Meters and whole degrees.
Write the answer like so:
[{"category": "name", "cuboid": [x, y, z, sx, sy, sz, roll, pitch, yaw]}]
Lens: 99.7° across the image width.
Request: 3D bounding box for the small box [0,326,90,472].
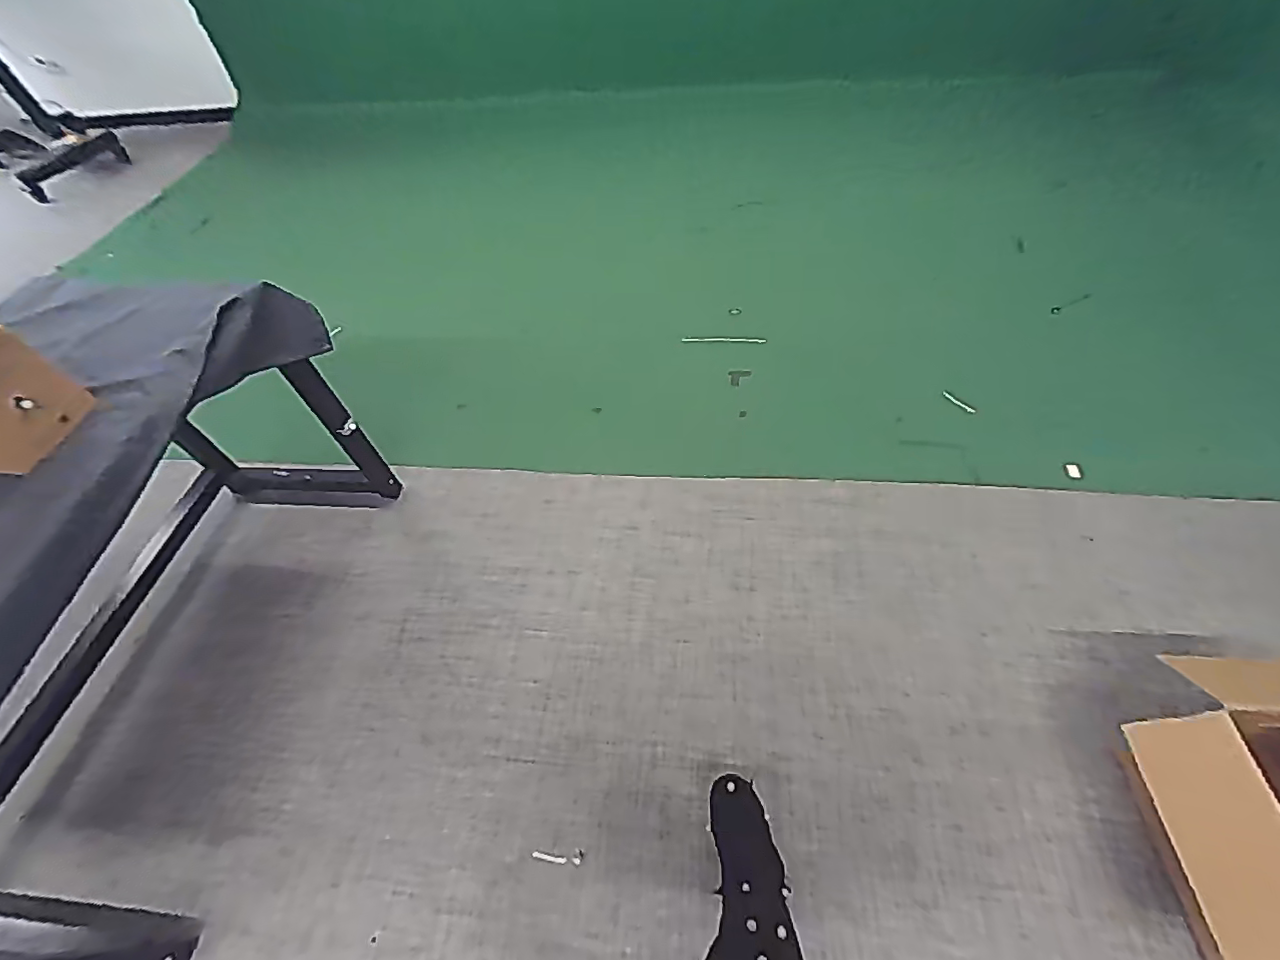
[{"category": "small box", "cuboid": [-1.056, -0.127, 0.853, 0.179, 0.176, 0.168, 3, 54, 7]}]
